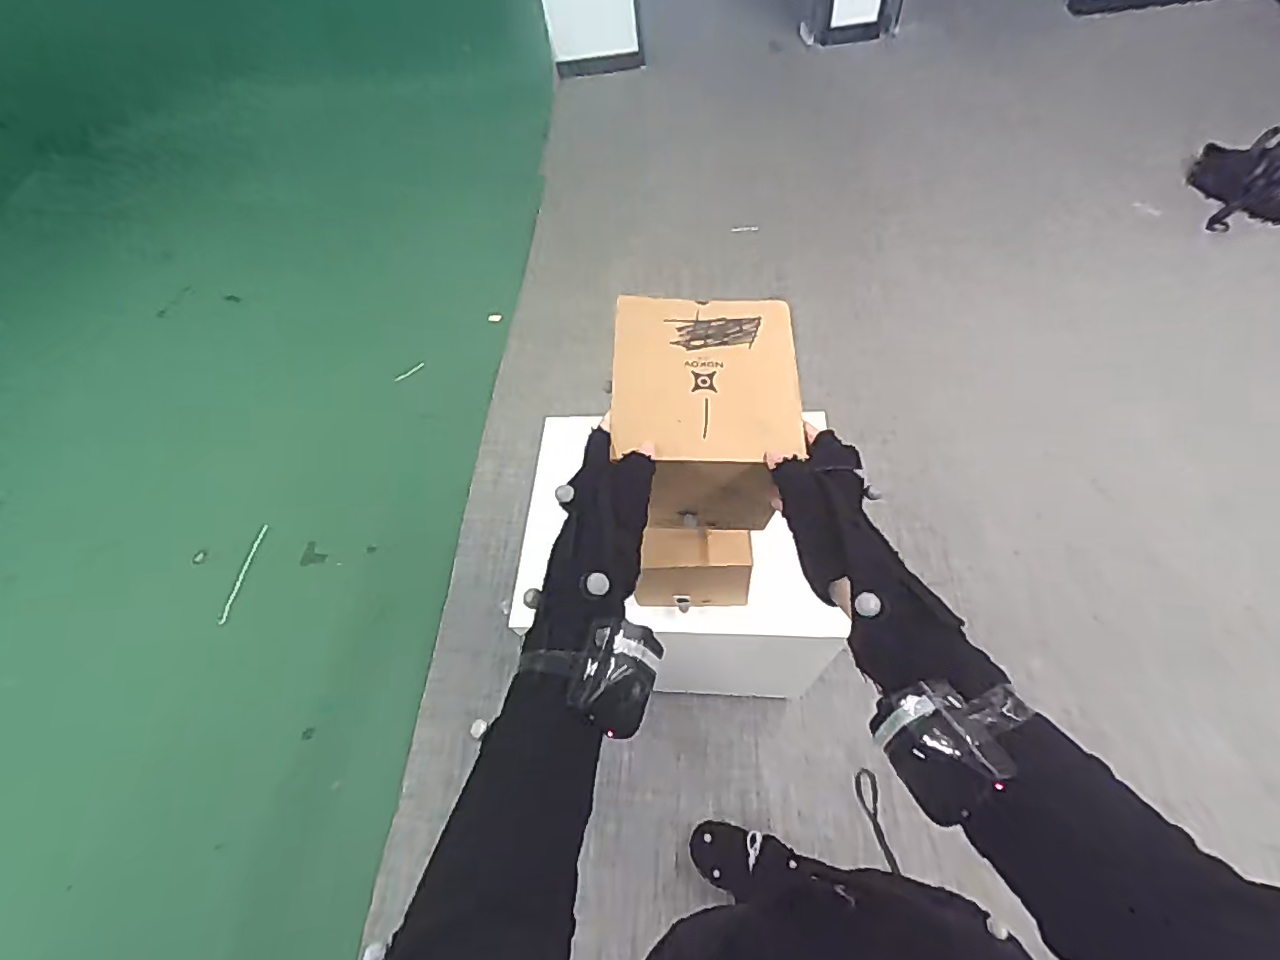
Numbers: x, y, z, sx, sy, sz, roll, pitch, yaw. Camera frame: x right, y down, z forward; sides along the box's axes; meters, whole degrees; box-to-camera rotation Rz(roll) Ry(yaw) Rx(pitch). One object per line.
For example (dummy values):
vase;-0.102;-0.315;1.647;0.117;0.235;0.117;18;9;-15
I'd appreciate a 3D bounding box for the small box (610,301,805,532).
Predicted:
small box;0.054;-0.059;0.555;0.168;0.176;0.179;-1;63;-1

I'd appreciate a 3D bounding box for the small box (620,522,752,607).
small box;0.068;0.072;0.777;0.168;0.176;0.179;-4;61;8
